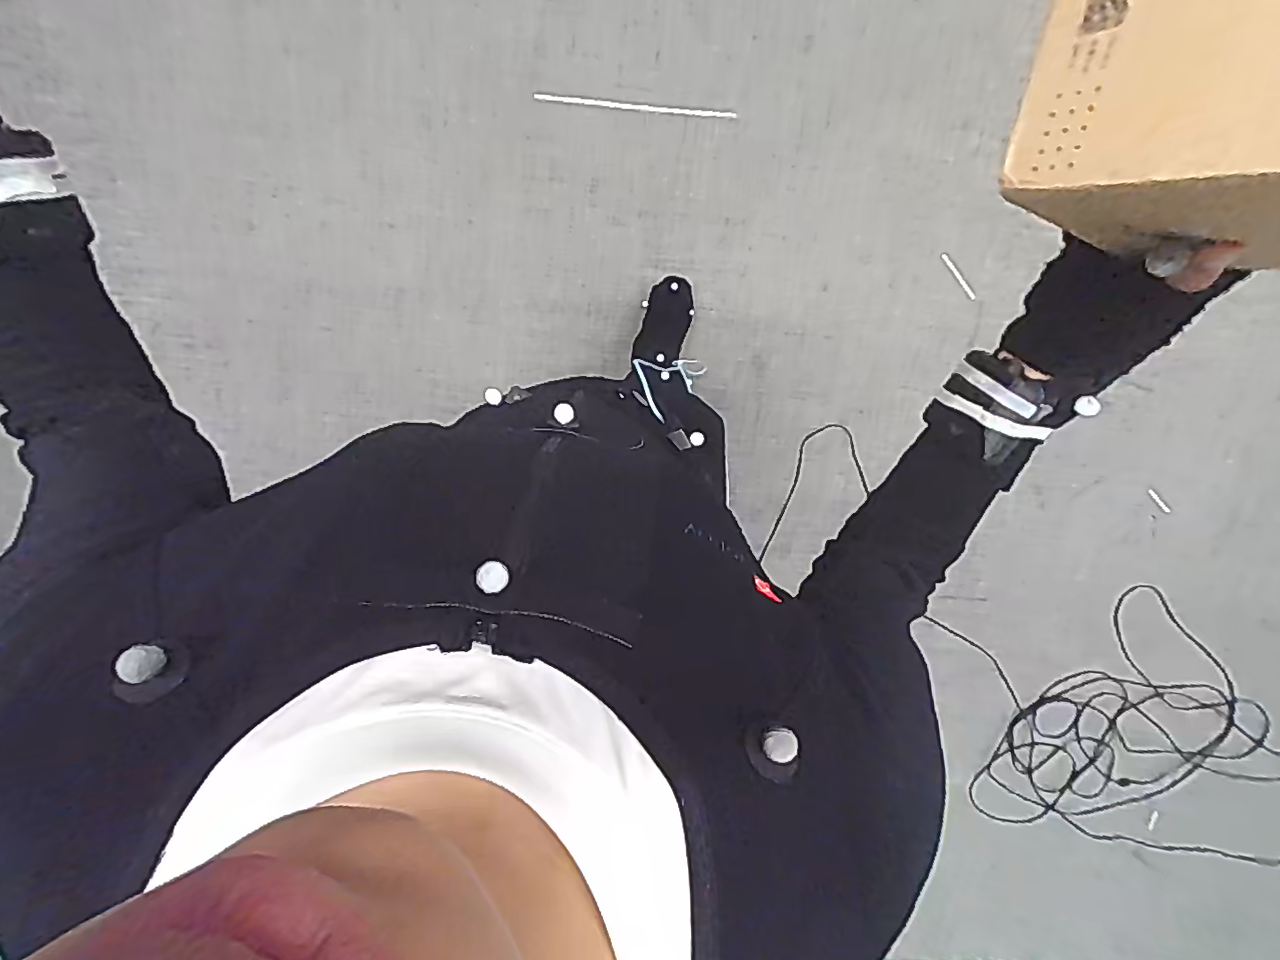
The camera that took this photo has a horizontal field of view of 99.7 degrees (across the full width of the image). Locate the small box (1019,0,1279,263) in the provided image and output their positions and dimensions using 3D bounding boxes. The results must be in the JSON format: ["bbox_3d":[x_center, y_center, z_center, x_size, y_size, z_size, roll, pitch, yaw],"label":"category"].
[{"bbox_3d":[0.282,-0.174,0.188,0.179,0.176,0.168,-2,112,-33],"label":"small box"}]
